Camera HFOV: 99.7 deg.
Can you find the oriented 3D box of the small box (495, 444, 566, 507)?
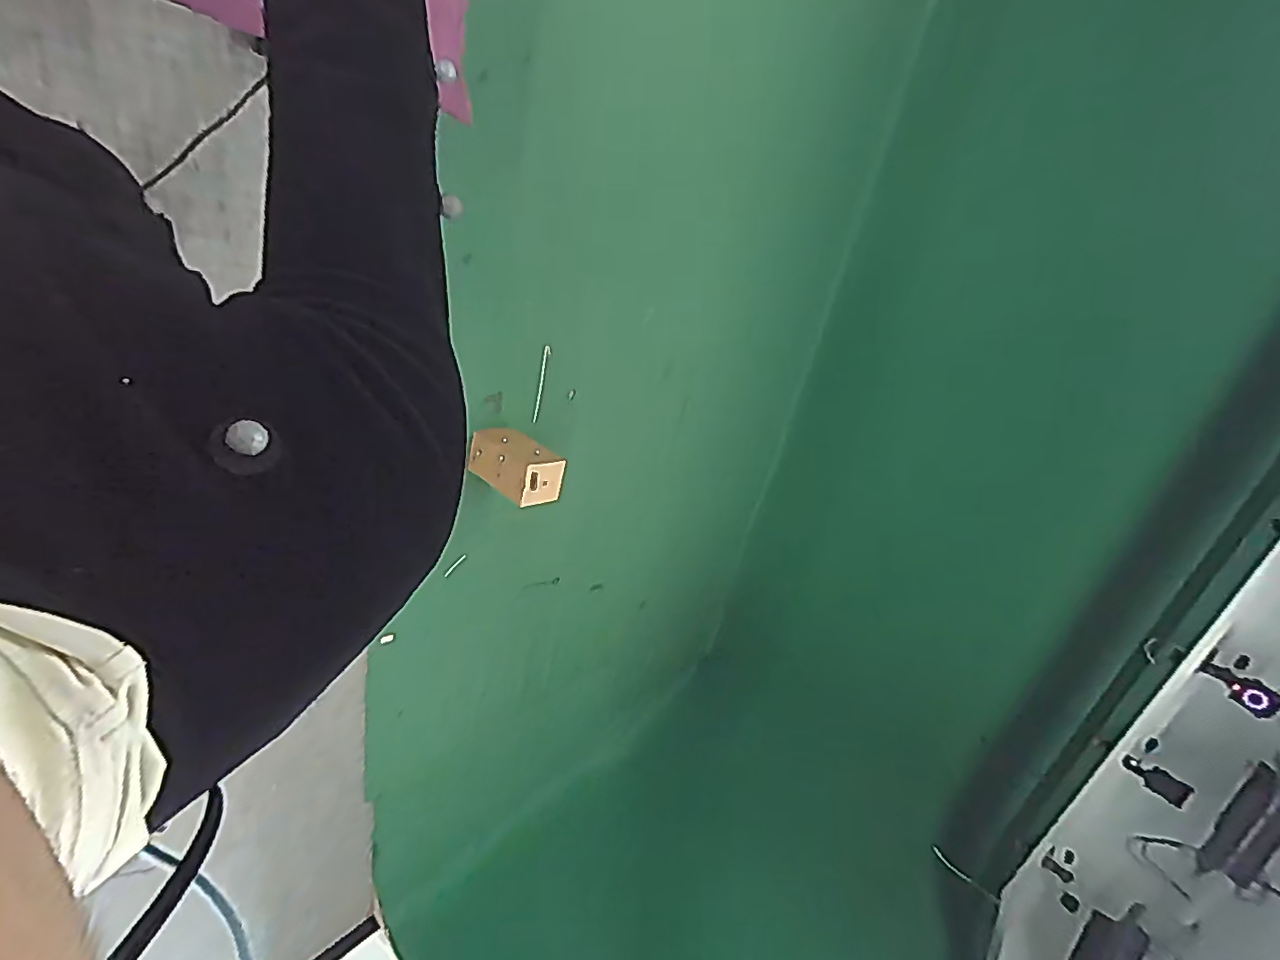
[{"bbox_3d":[-0.404,-0.021,1.972,0.179,0.176,0.168,-11,124,-49],"label":"small box"}]

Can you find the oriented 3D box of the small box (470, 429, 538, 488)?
[{"bbox_3d":[-0.522,-0.090,2.062,0.179,0.176,0.168,-12,124,-48],"label":"small box"}]
